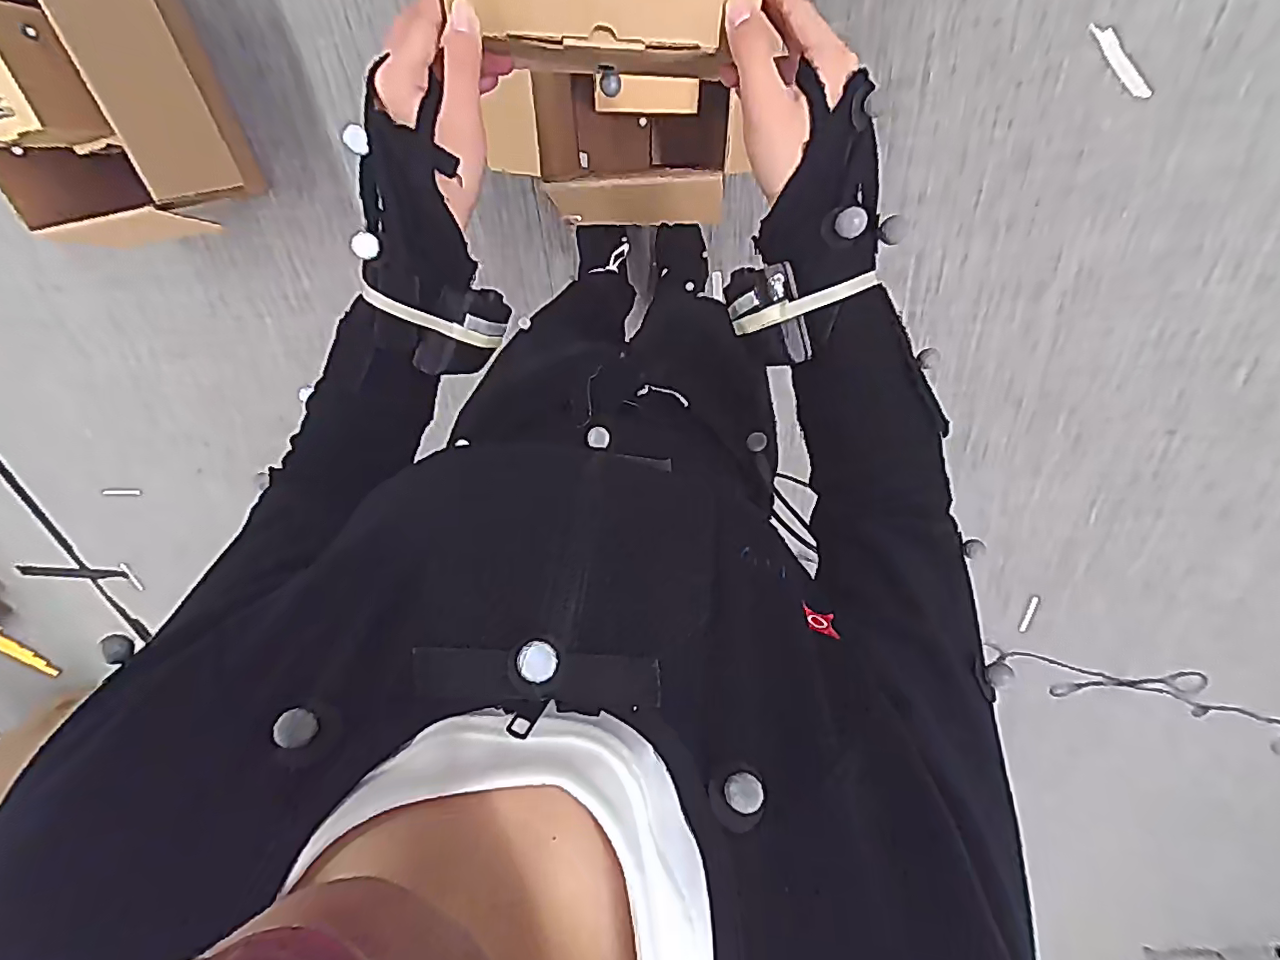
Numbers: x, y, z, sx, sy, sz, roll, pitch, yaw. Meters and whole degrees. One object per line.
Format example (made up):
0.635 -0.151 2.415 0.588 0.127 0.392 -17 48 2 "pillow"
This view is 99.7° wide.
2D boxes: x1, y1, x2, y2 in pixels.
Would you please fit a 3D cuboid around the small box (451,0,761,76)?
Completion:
-0.015 -0.355 0.311 0.168 0.176 0.179 2 122 -2 "small box"
